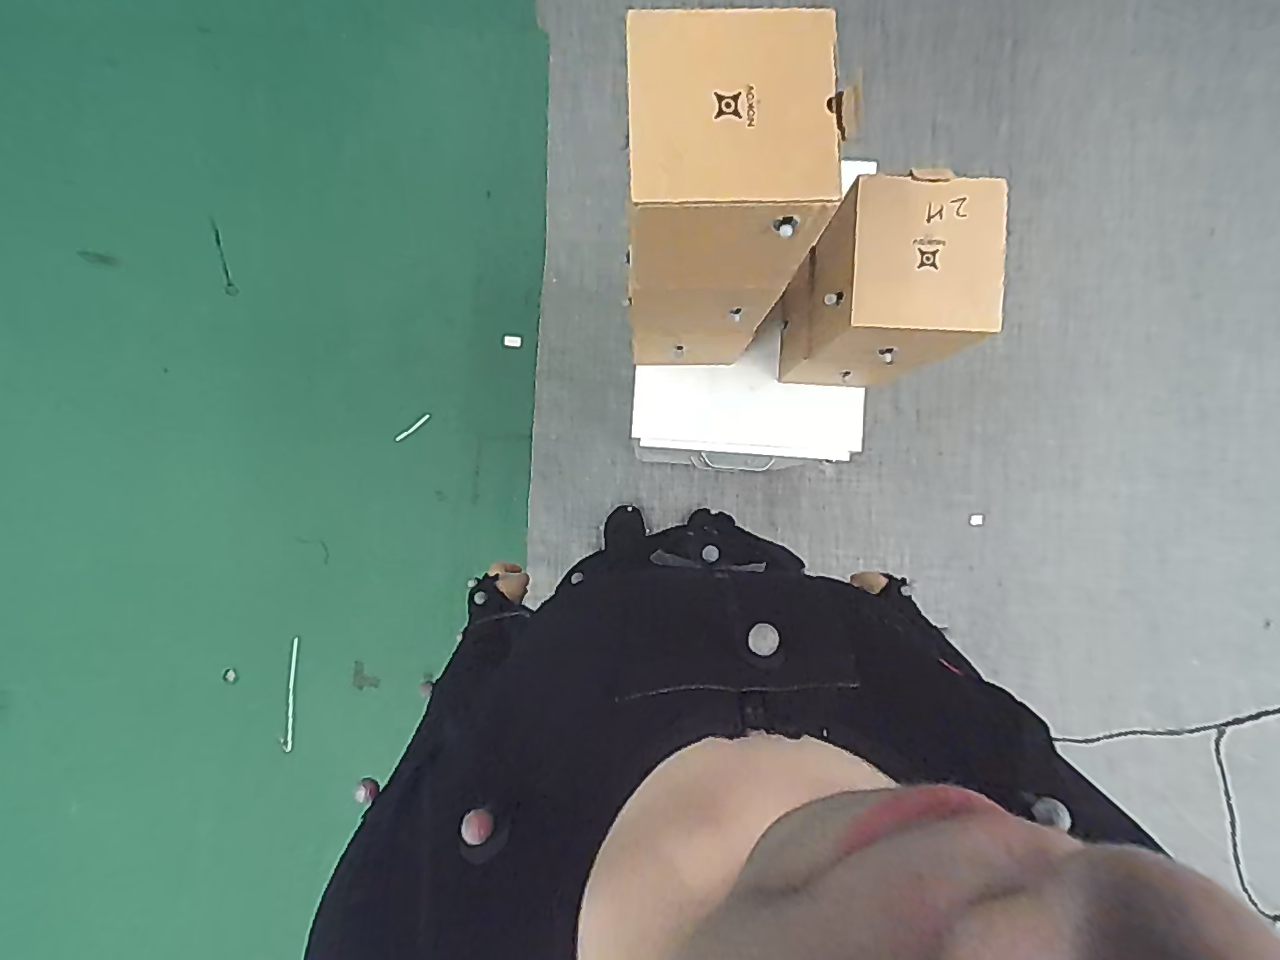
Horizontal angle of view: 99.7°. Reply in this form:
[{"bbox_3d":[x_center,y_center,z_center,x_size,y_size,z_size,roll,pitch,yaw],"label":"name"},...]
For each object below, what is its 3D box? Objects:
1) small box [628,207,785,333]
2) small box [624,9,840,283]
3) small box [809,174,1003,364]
[{"bbox_3d":[0.074,-0.293,0.688,0.179,0.176,0.168,-2,87,0],"label":"small box"},{"bbox_3d":[0.075,-0.303,0.525,0.179,0.176,0.168,-2,88,-2],"label":"small box"},{"bbox_3d":[0.319,-0.251,0.682,0.168,0.176,0.179,3,88,1],"label":"small box"}]
